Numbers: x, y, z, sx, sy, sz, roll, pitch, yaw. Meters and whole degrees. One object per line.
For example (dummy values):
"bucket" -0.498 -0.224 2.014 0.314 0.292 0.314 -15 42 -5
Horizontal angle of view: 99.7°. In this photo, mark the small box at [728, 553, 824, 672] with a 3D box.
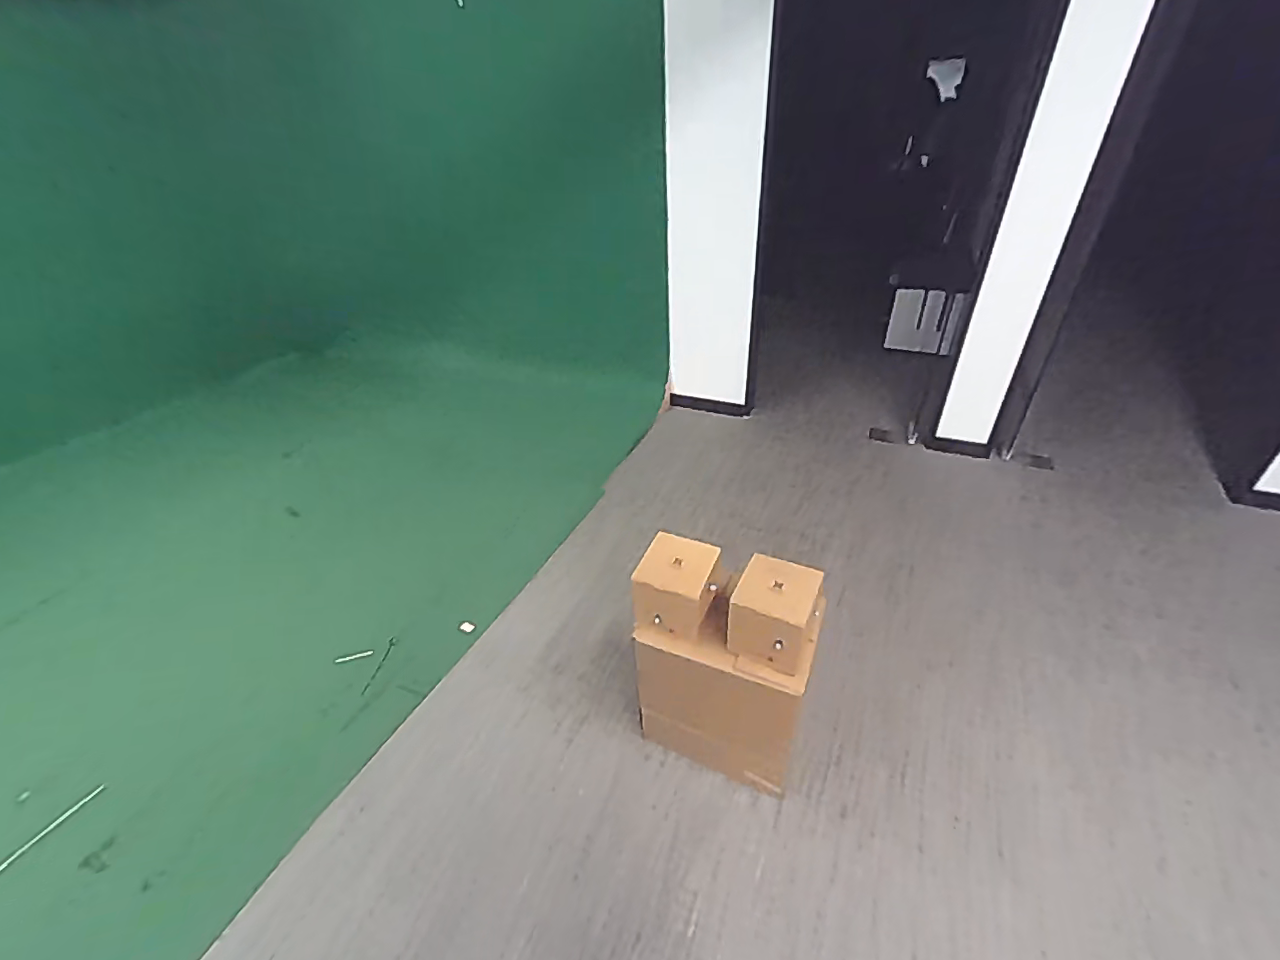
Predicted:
"small box" 0.308 0.303 1.235 0.168 0.176 0.179 15 38 25

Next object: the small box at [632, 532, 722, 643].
"small box" 0.090 0.260 1.317 0.168 0.176 0.179 14 40 20
